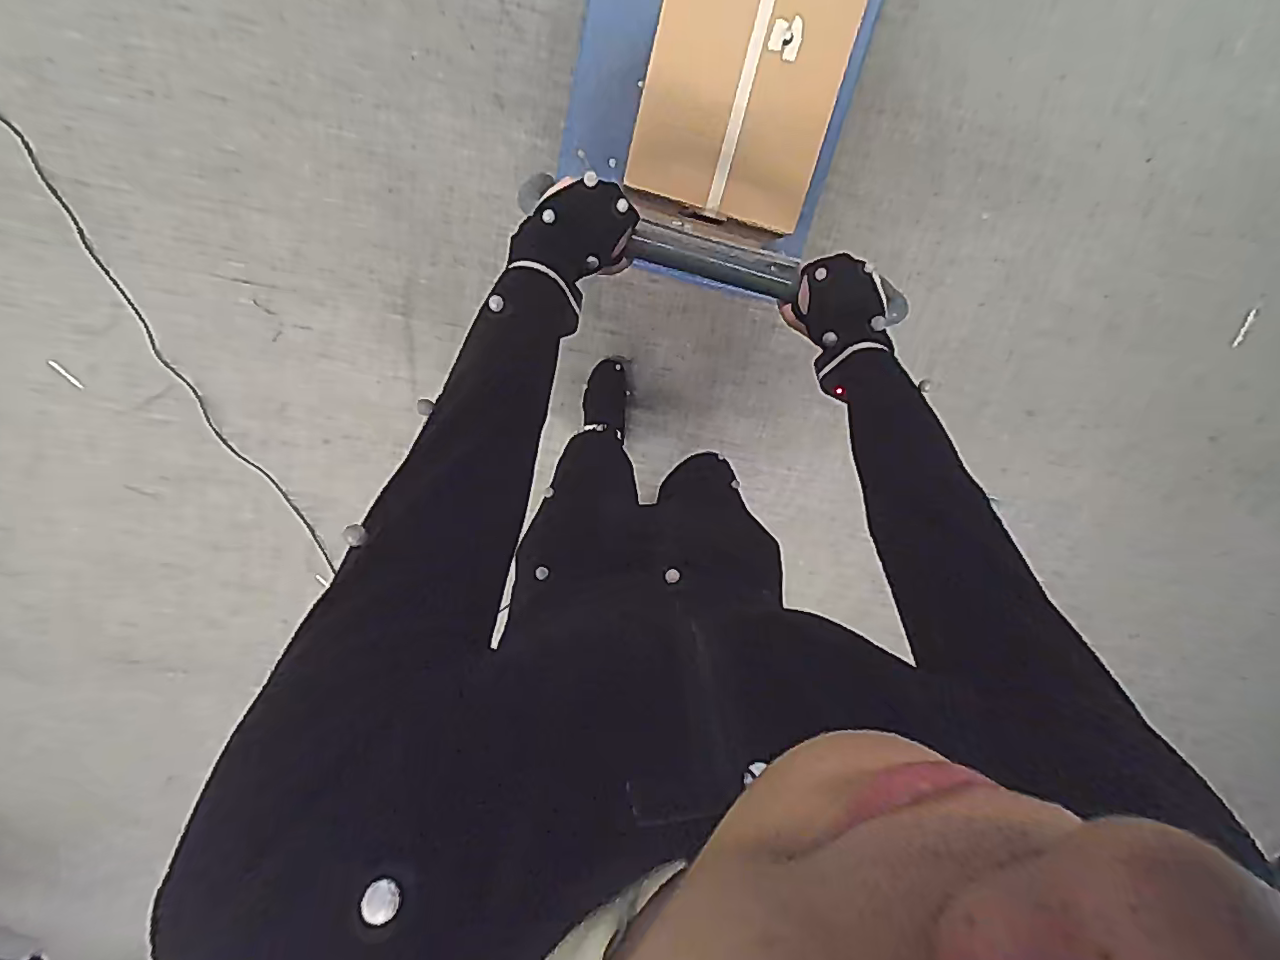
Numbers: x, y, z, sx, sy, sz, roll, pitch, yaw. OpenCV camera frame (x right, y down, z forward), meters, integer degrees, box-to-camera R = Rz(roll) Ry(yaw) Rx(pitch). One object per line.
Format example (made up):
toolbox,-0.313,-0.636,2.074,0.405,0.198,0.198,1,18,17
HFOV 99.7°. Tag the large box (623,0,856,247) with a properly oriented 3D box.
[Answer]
large box,0.156,-0.701,1.028,0.320,0.320,0.408,12,107,-7
